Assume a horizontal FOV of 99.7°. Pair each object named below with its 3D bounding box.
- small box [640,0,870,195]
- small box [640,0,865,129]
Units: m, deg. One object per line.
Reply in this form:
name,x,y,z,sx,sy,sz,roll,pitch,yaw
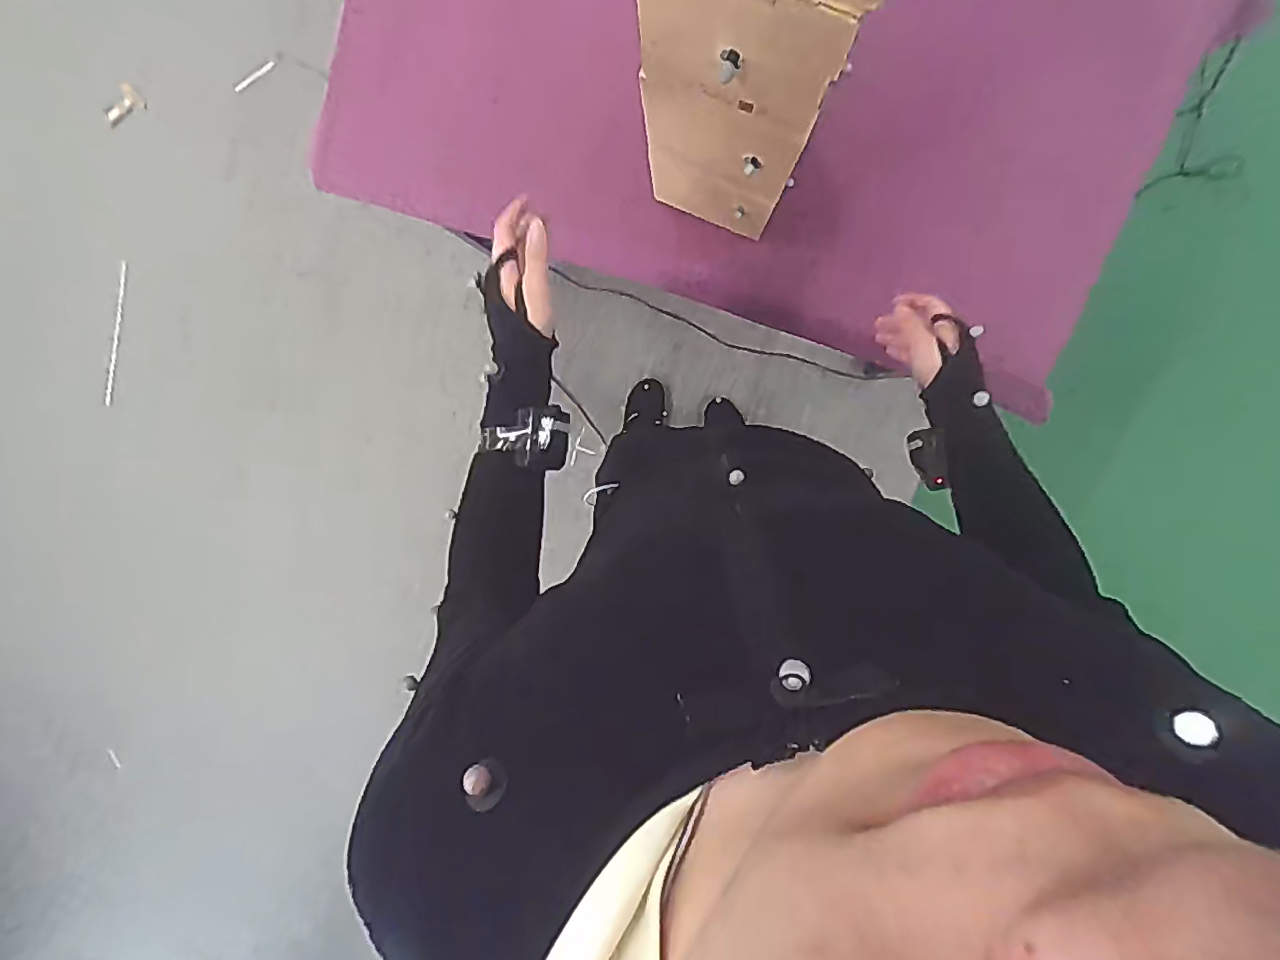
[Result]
small box,0.116,-0.438,0.582,0.179,0.176,0.168,23,99,1
small box,0.105,-0.420,0.421,0.168,0.176,0.179,23,100,0
